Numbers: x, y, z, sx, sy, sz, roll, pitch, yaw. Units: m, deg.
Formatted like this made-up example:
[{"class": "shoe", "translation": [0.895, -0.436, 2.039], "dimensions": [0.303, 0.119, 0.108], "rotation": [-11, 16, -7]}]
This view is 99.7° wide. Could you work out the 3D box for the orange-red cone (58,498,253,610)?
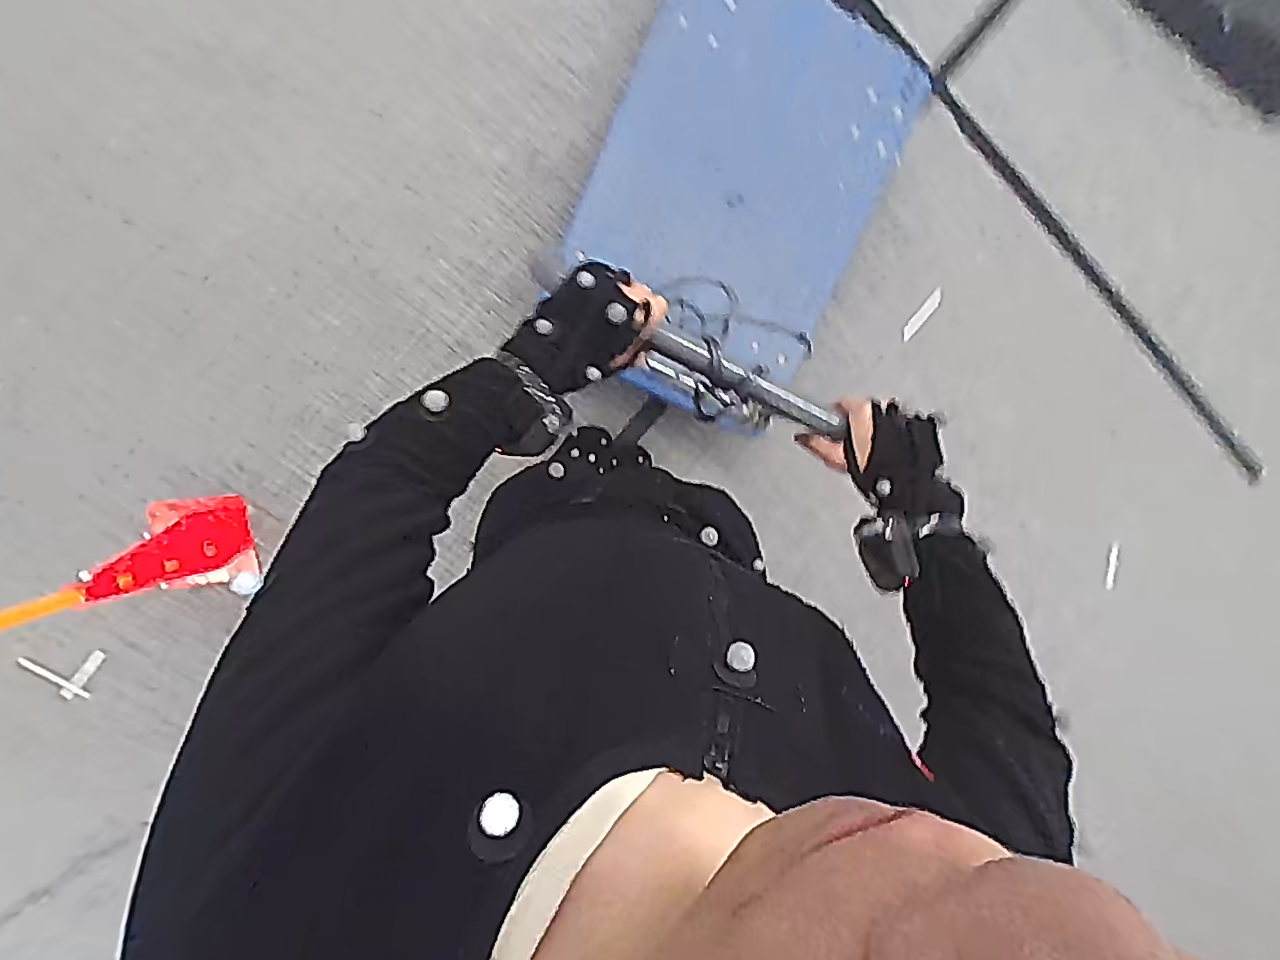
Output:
[{"class": "orange-red cone", "translation": [-0.968, 0.168, 1.061], "dimensions": [0.199, 0.360, 0.198], "rotation": [-5, 100, -10]}]
